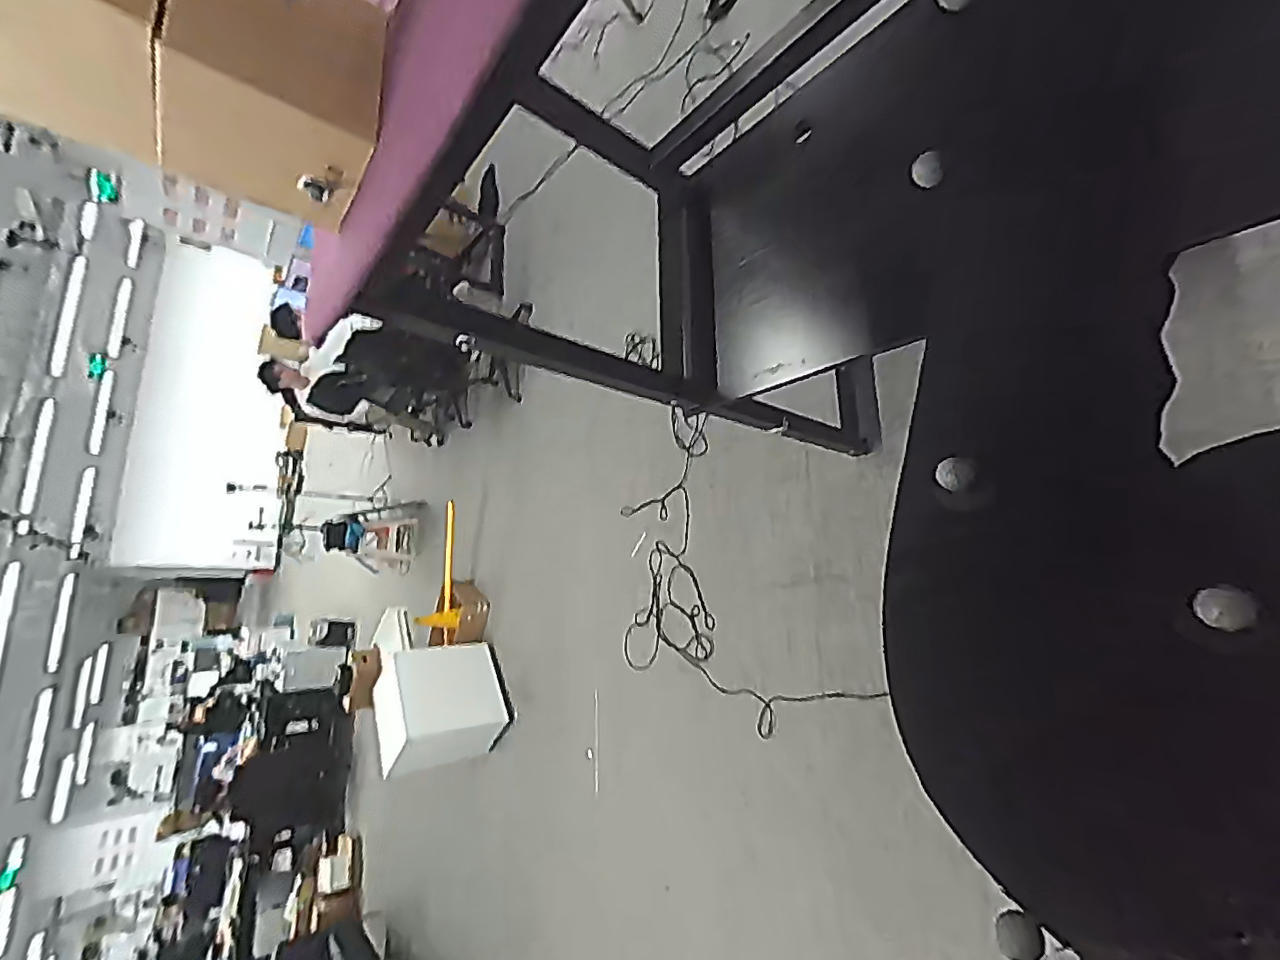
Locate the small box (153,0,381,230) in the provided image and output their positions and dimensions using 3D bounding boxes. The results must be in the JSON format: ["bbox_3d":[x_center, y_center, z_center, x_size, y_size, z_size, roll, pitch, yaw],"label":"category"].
[{"bbox_3d":[-0.378,-0.401,0.559,0.168,0.176,0.179,-20,69,48],"label":"small box"}]

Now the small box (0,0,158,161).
[{"bbox_3d":[-0.508,-0.421,0.460,0.179,0.176,0.168,-21,68,48],"label":"small box"}]
